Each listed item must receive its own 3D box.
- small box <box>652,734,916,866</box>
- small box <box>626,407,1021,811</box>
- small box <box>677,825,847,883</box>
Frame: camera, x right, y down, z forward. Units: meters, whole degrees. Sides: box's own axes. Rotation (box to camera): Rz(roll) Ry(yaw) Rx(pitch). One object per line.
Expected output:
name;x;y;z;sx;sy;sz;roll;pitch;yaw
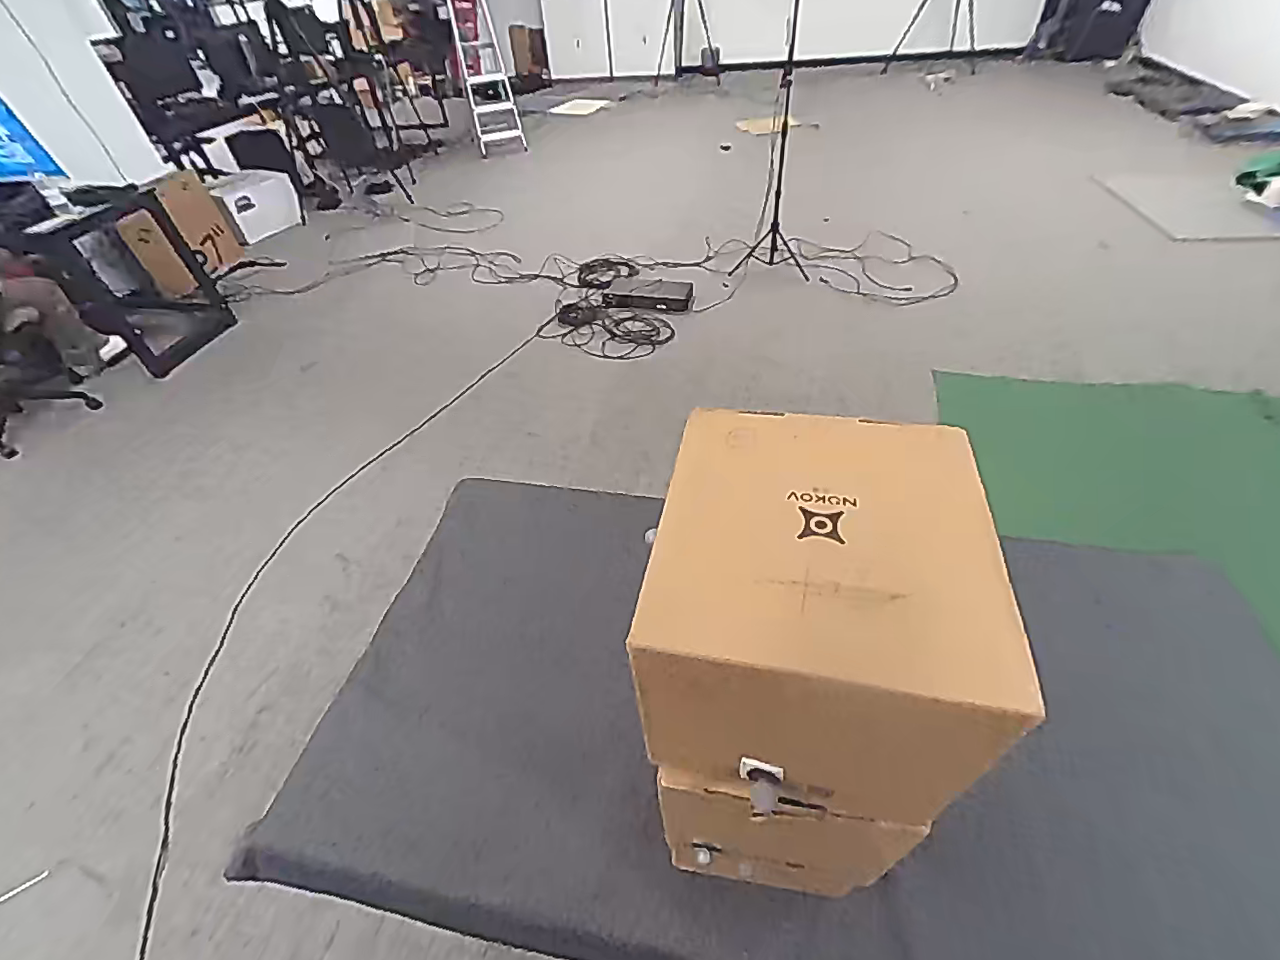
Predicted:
small box;0.109;0.194;0.452;0.168;0.176;0.179;4;44;10
small box;0.096;0.076;0.342;0.168;0.176;0.179;5;46;13
small box;0.129;0.305;0.575;0.179;0.176;0.168;1;43;7
